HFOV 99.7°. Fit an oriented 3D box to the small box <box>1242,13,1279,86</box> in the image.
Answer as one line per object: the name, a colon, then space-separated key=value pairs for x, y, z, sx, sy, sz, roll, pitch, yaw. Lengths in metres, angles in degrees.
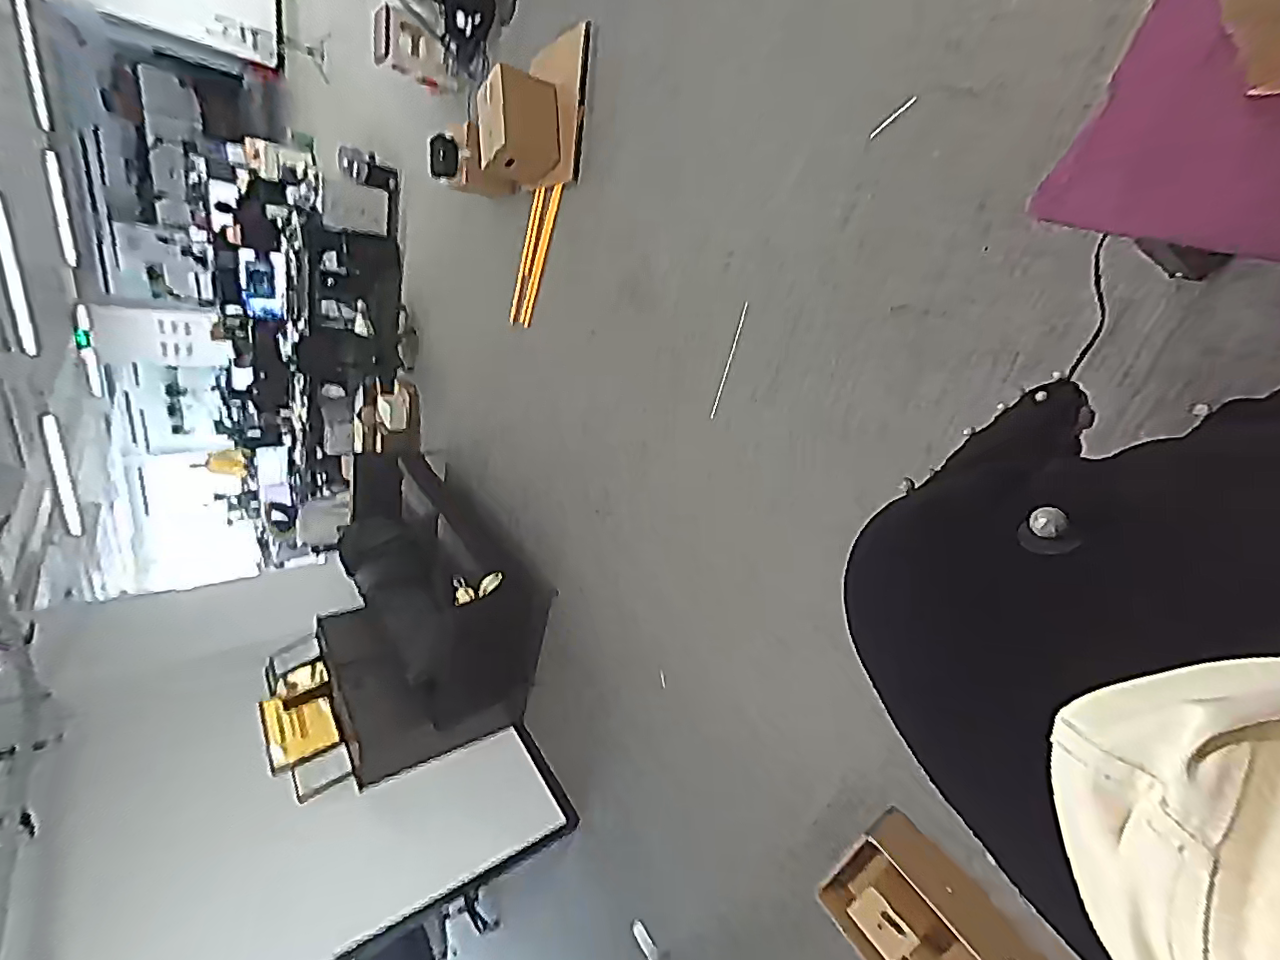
small box: x=0.681 y=-0.478 z=0.466 sx=0.168 sy=0.176 sz=0.179 roll=32 pitch=120 yaw=43
